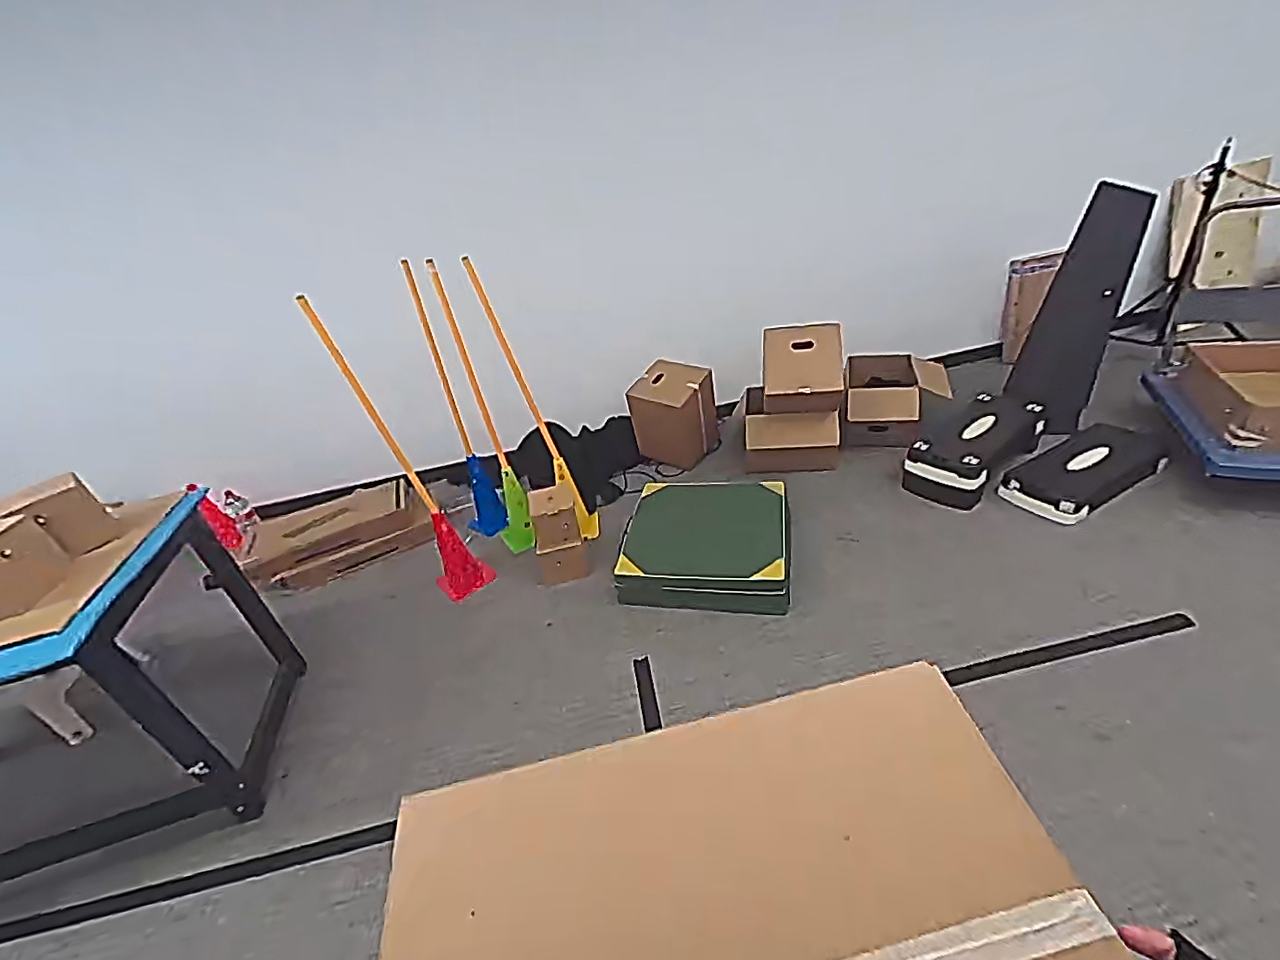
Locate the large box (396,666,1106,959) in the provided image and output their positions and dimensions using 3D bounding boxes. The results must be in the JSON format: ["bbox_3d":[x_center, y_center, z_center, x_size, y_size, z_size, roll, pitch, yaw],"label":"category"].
[{"bbox_3d":[0.077,0.397,0.397,0.408,0.320,0.320,-14,41,-3],"label":"large box"}]
